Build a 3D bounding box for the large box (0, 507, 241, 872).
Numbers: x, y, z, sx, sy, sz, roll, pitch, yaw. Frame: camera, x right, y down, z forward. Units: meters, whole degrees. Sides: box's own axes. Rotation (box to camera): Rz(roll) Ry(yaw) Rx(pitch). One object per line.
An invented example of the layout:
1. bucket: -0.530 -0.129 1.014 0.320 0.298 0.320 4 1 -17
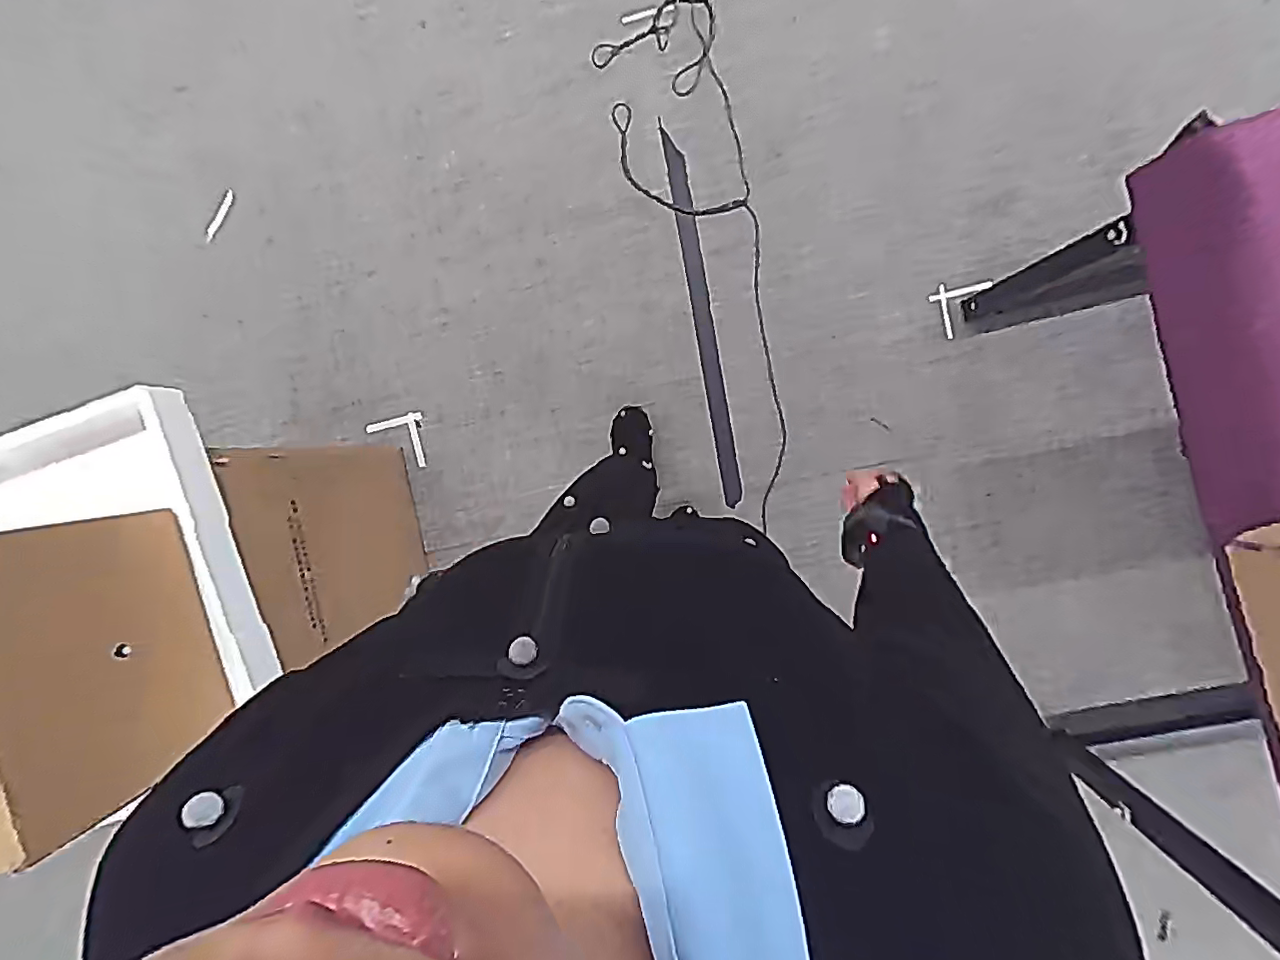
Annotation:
1. large box: -0.893 0.285 0.788 0.320 0.320 0.408 -15 94 8
